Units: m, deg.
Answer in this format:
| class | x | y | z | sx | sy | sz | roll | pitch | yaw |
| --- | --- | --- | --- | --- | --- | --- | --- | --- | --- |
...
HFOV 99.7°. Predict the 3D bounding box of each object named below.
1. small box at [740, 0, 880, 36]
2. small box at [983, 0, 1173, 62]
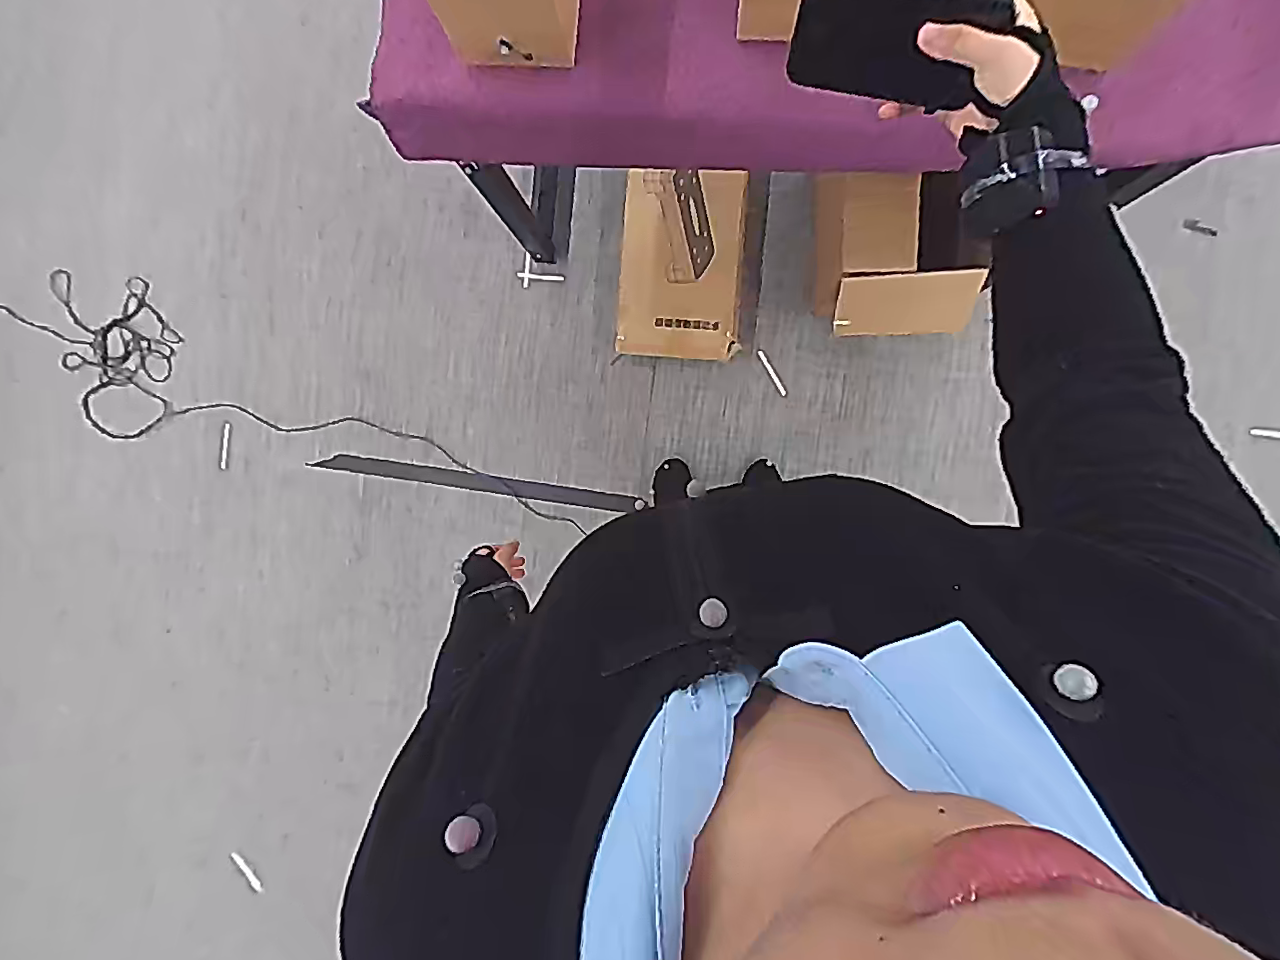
| class | x | y | z | sx | sy | sz | roll | pitch | yaw |
| --- | --- | --- | --- | --- | --- | --- | --- | --- | --- |
| small box | 0.221 | -0.677 | 0.646 | 0.179 | 0.176 | 0.168 | 5 | 90 | 5 |
| small box | 0.534 | -0.625 | 0.618 | 0.179 | 0.176 | 0.168 | 12 | 93 | 5 |
